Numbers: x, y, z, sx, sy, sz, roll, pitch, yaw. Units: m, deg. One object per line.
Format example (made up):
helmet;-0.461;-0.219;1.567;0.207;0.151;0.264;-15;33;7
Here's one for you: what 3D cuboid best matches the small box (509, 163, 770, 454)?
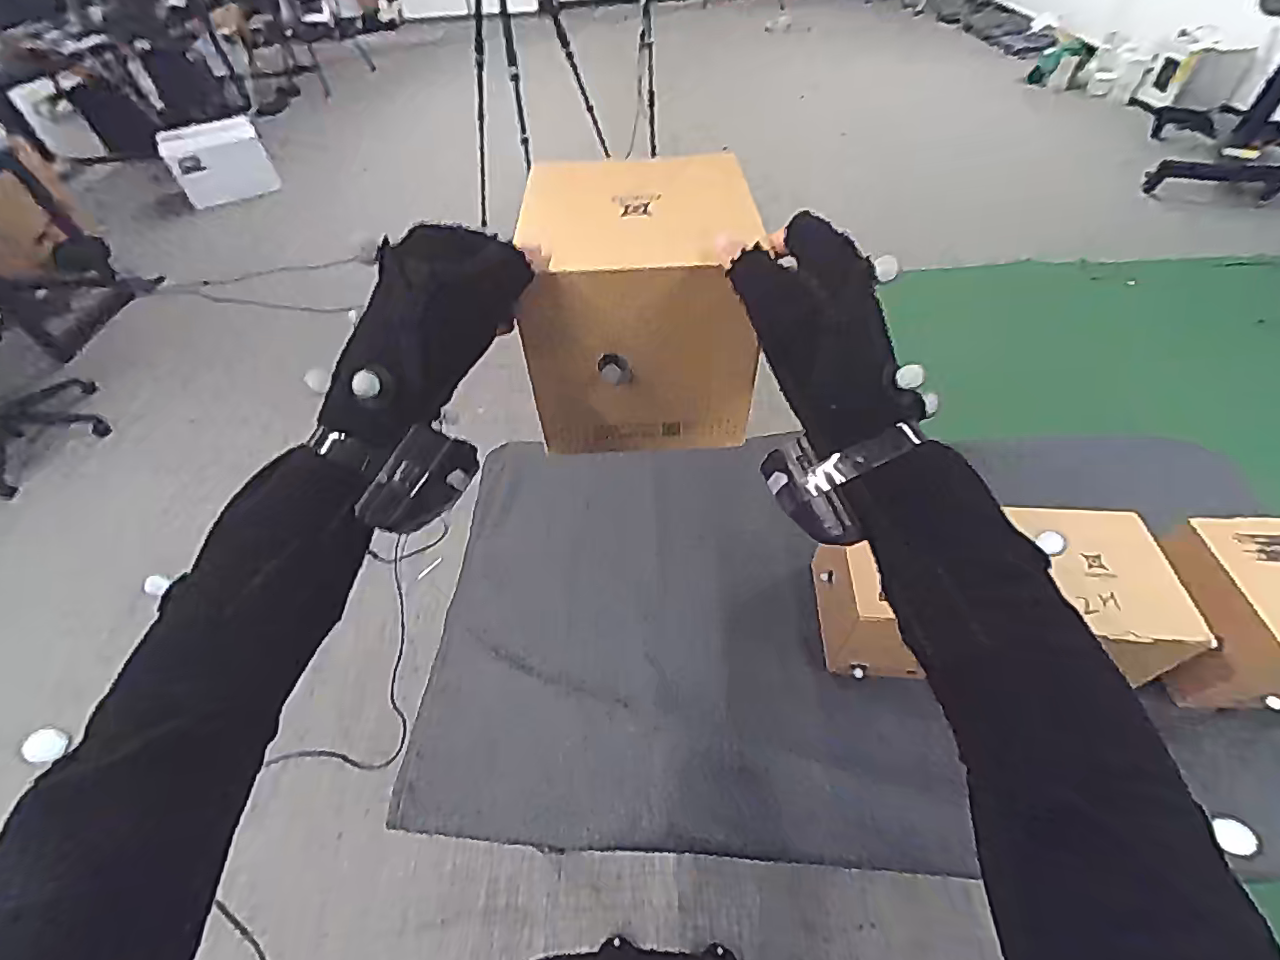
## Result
small box;0.001;-0.133;0.444;0.168;0.176;0.179;-3;49;0
